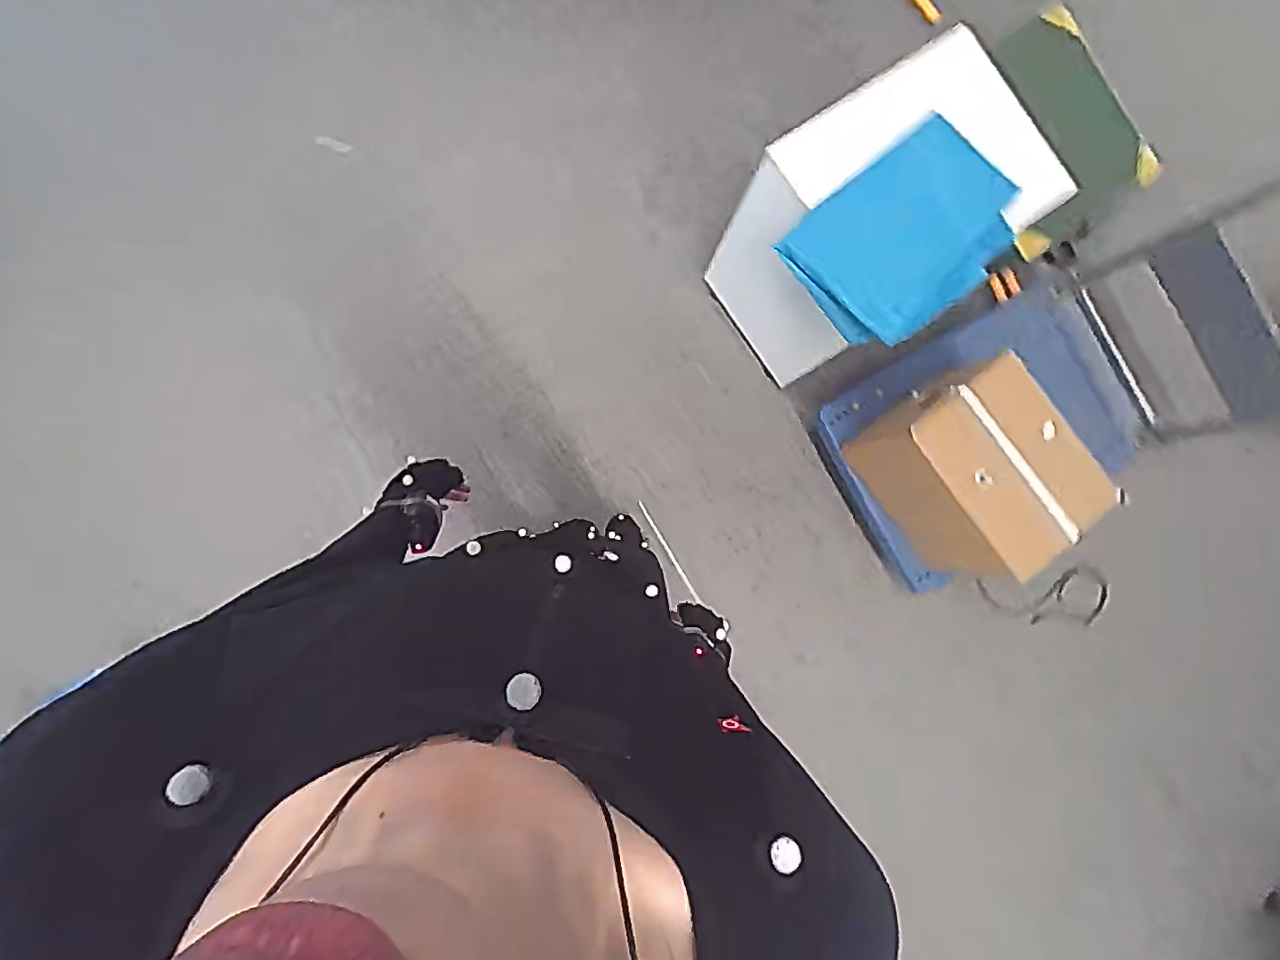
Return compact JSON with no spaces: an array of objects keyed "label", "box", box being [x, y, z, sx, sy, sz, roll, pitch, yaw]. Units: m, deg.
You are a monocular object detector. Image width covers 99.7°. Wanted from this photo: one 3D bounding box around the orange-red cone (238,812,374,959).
[{"label":"orange-red cone","box":[-0.793,0.974,1.223,0.199,0.360,0.198,-25,89,-6]}]
